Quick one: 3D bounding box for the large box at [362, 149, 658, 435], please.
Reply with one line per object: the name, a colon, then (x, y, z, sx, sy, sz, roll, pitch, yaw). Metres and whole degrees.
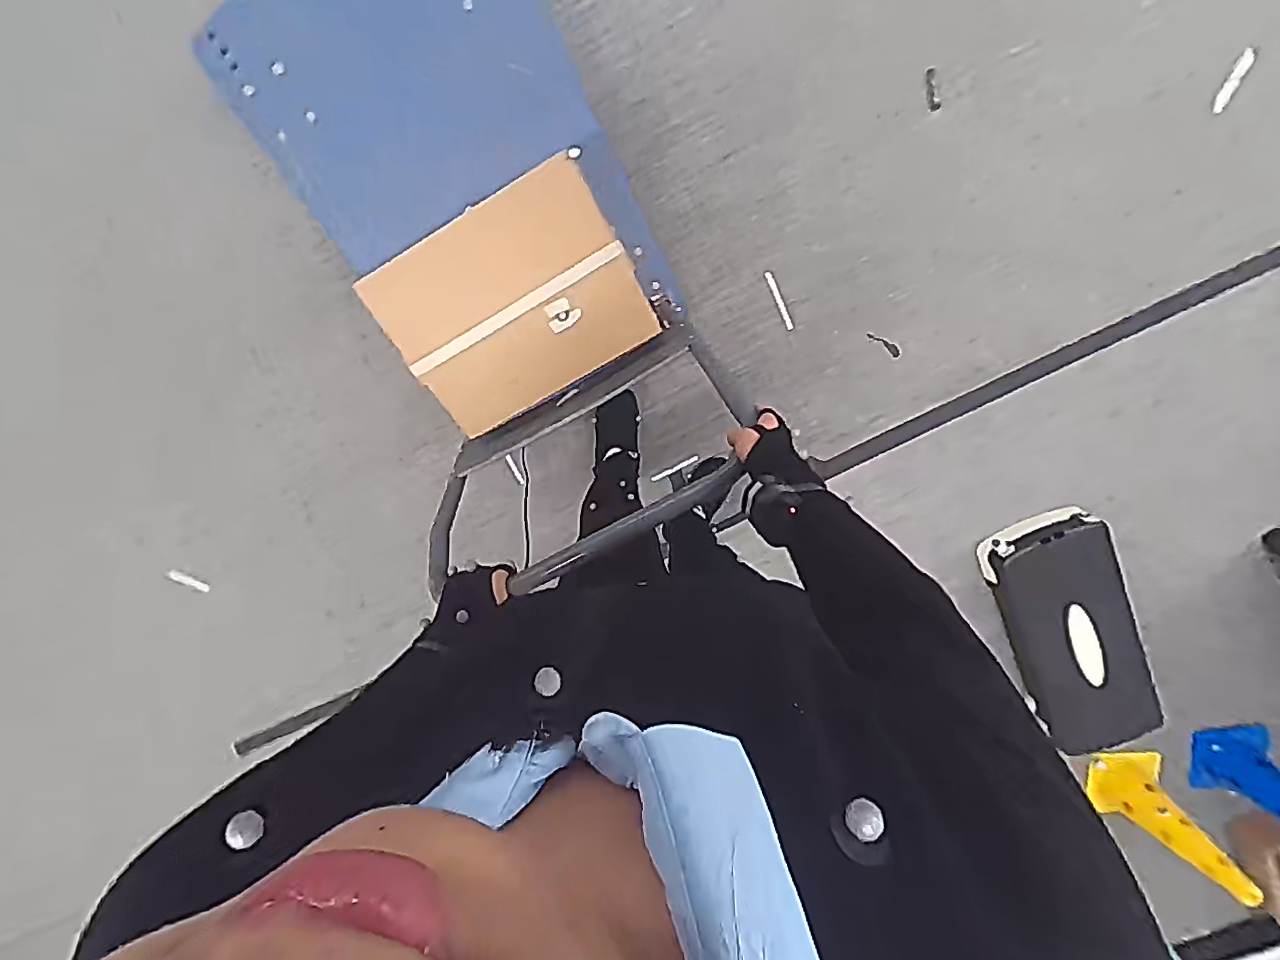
large box: (-0.227, -0.355, 1.042, 0.408, 0.320, 0.320, -29, 117, 7)
